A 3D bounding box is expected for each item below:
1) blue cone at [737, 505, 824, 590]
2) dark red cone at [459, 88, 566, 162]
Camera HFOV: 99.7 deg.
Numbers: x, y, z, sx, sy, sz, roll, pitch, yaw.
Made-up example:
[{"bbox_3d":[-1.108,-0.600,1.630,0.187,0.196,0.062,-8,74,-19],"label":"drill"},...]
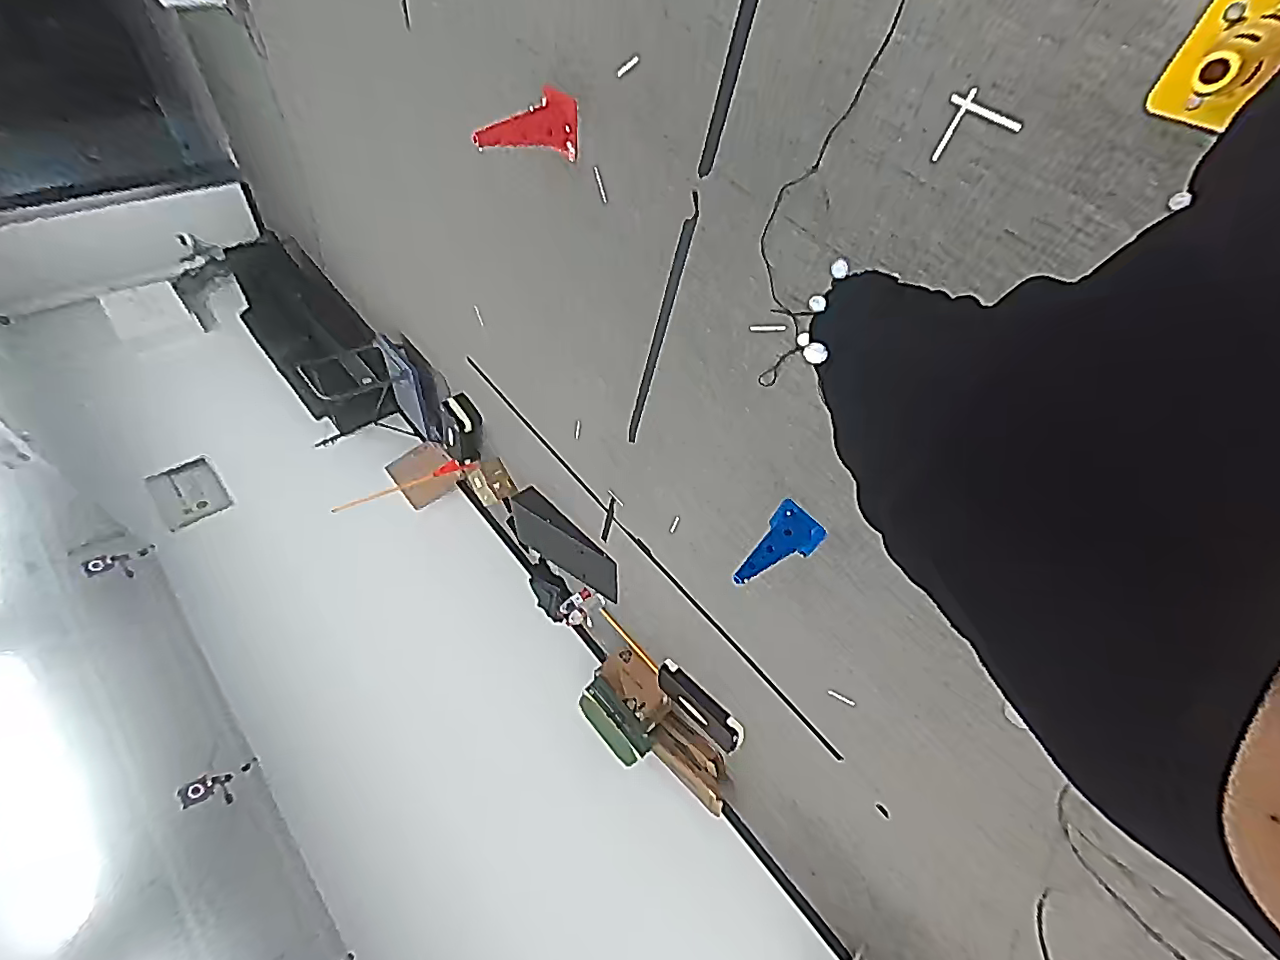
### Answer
[{"bbox_3d":[0.477,0.273,1.975,0.192,0.380,0.193,45,149,19],"label":"blue cone"},{"bbox_3d":[-0.452,-1.221,1.894,0.201,0.394,0.202,41,146,26],"label":"dark red cone"}]
